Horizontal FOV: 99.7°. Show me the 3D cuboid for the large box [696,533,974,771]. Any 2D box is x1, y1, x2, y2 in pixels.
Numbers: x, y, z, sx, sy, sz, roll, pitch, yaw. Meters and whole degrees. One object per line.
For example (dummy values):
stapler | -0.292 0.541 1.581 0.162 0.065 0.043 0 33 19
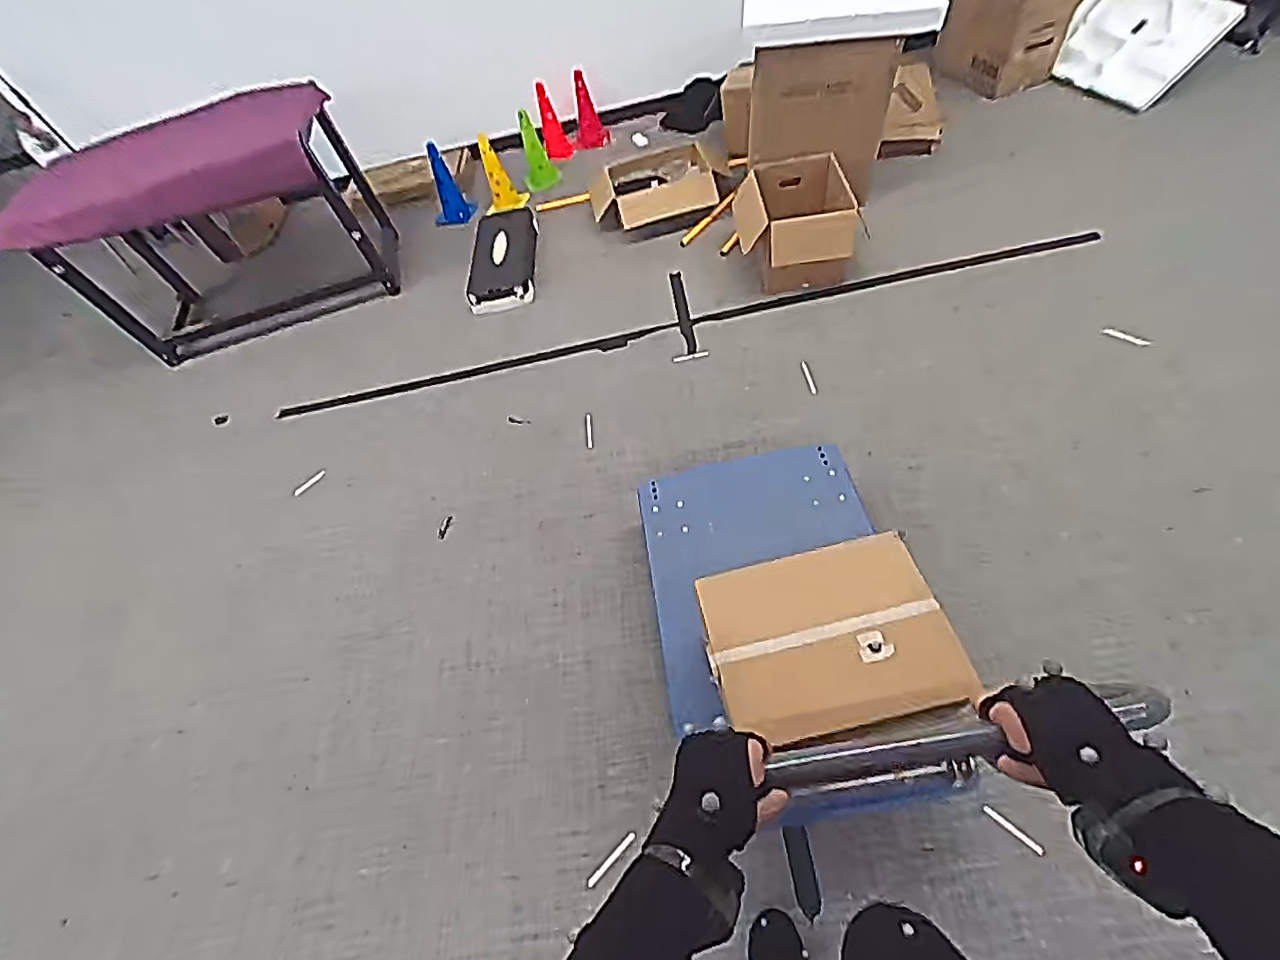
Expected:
large box | 0.350 0.356 1.091 0.408 0.320 0.320 -14 55 0
